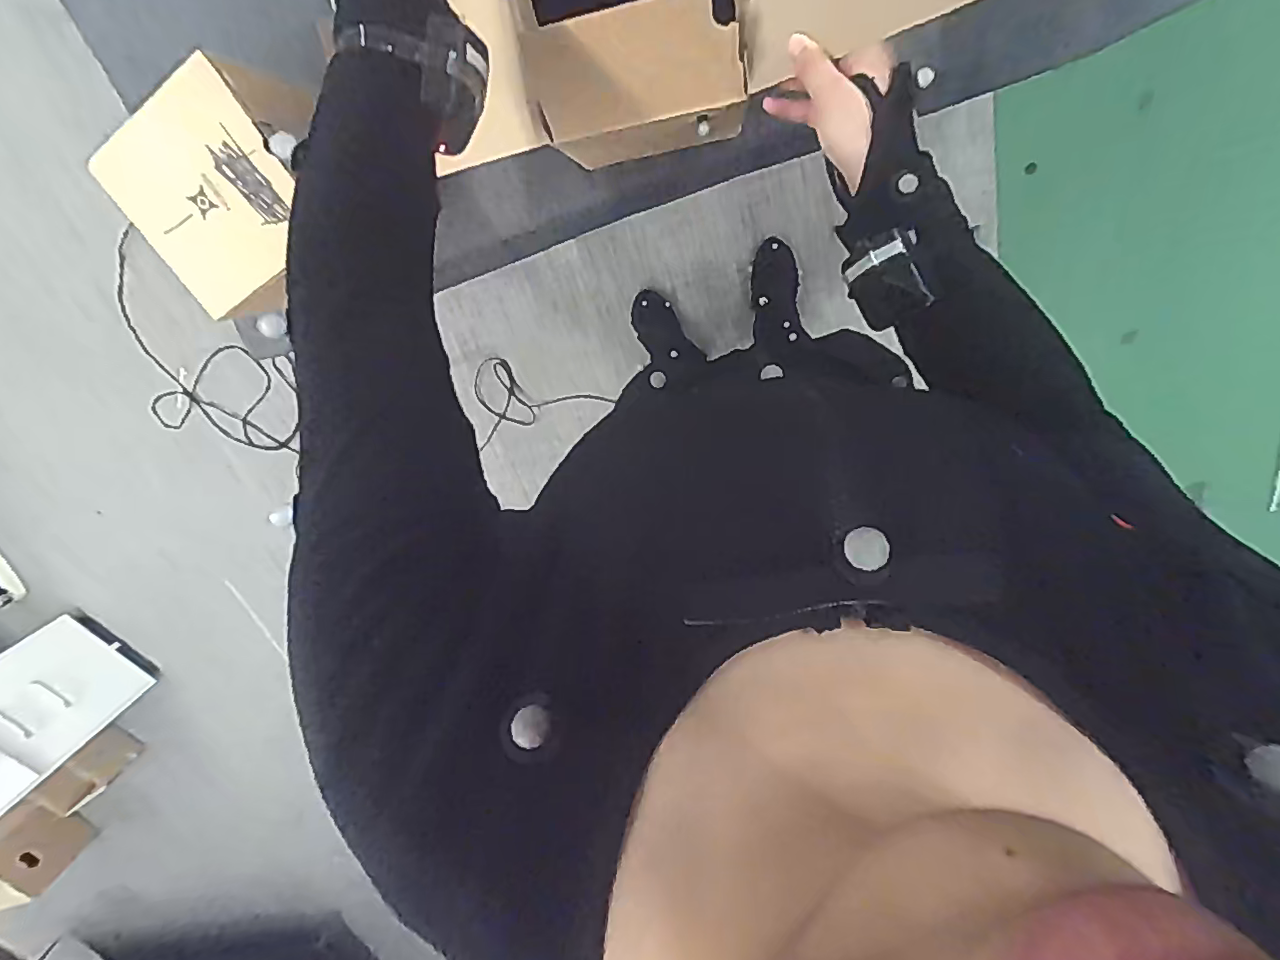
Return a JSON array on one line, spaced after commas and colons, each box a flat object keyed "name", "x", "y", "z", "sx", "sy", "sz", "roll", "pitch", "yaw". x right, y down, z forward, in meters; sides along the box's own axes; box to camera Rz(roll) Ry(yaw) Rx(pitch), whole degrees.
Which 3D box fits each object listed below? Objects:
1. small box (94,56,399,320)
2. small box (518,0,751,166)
[{"name": "small box", "x": -0.392, "y": -0.300, "z": 0.580, "sx": 0.179, "sy": 0.176, "sz": 0.168, "roll": -24, "pitch": 111, "yaw": 17}, {"name": "small box", "x": 0.000, "y": -0.402, "z": 0.492, "sx": 0.179, "sy": 0.176, "sz": 0.168, "roll": -8, "pitch": 113, "yaw": 9}]
